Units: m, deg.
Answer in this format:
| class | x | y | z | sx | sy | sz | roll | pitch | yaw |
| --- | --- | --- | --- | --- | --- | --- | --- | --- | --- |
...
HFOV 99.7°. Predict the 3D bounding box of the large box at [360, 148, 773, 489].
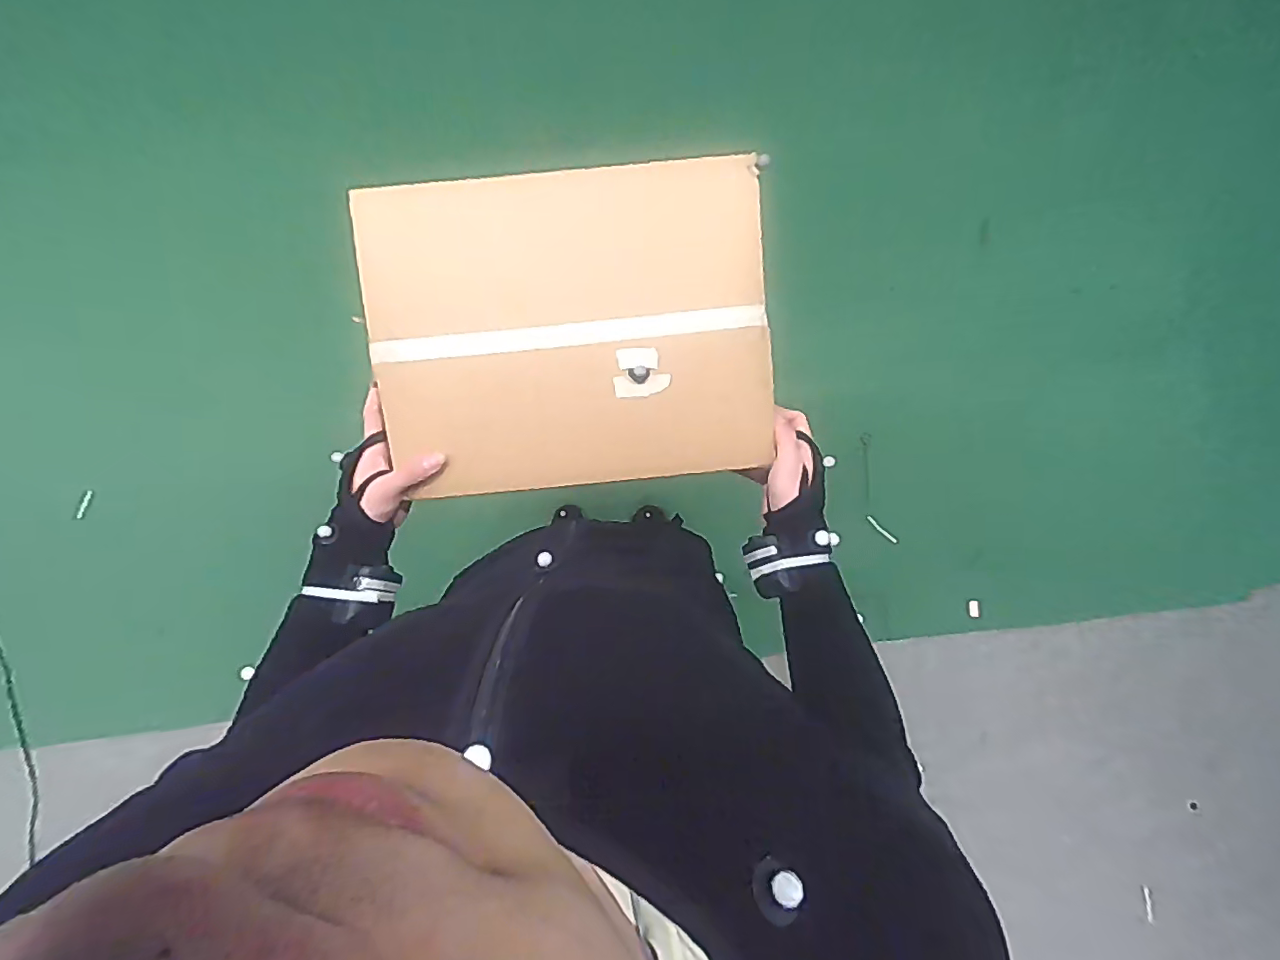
| class | x | y | z | sx | sy | sz | roll | pitch | yaw |
| --- | --- | --- | --- | --- | --- | --- | --- | --- | --- |
| large box | -0.074 | -0.183 | 0.708 | 0.408 | 0.320 | 0.320 | -6 | 99 | -1 |
